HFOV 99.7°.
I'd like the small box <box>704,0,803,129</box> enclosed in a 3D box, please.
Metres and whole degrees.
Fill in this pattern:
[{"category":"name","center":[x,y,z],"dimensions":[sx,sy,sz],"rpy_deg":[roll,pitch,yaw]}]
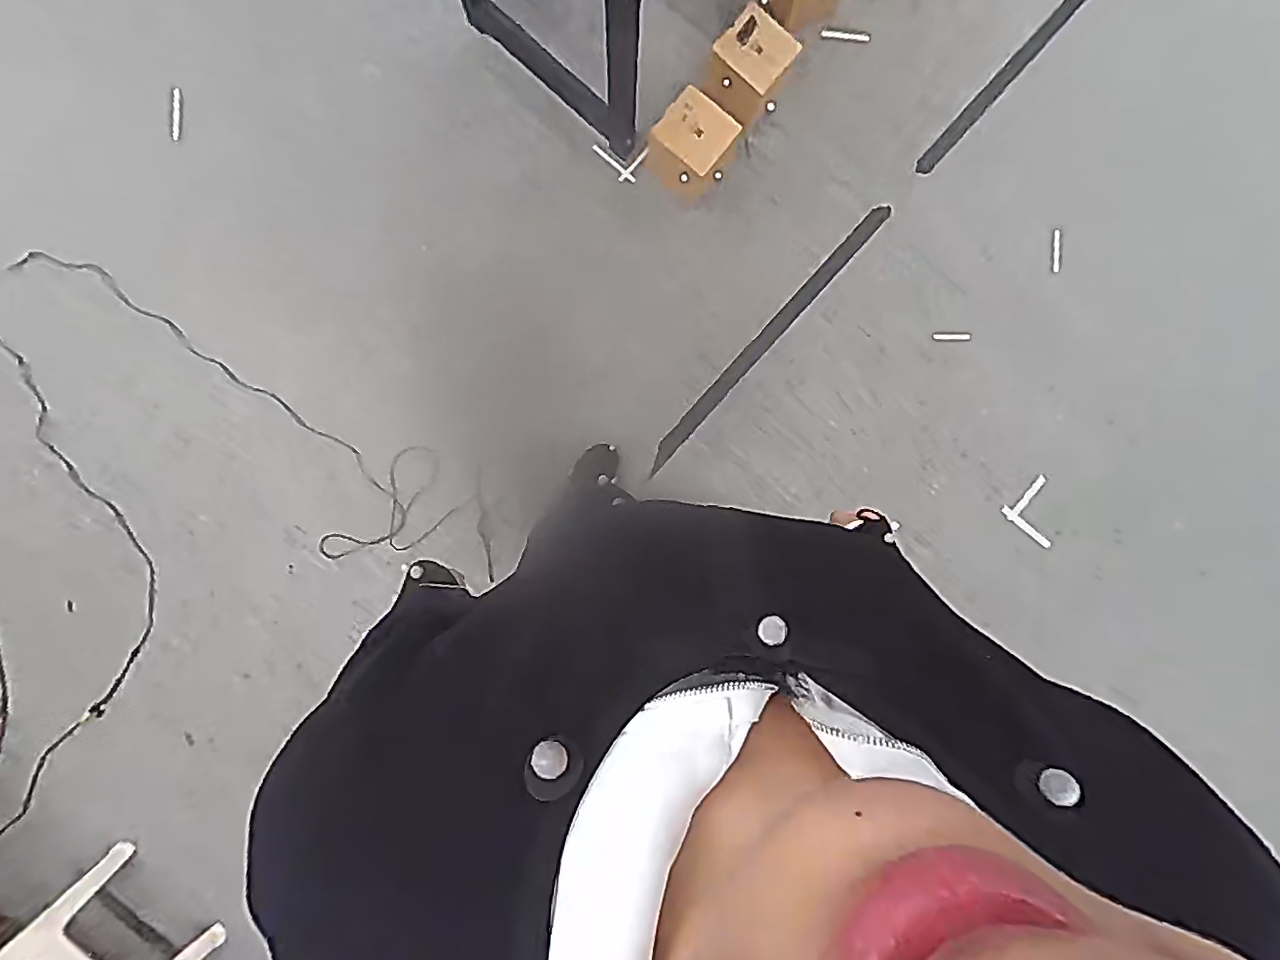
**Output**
[{"category":"small box","center":[0.291,-1.092,1.437],"dimensions":[0.179,0.176,0.168],"rpy_deg":[41,89,-3]}]

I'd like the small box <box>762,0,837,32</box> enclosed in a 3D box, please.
[{"category":"small box","center":[0.438,-1.356,1.442],"dimensions":[0.179,0.176,0.168],"rpy_deg":[-27,90,0]}]
